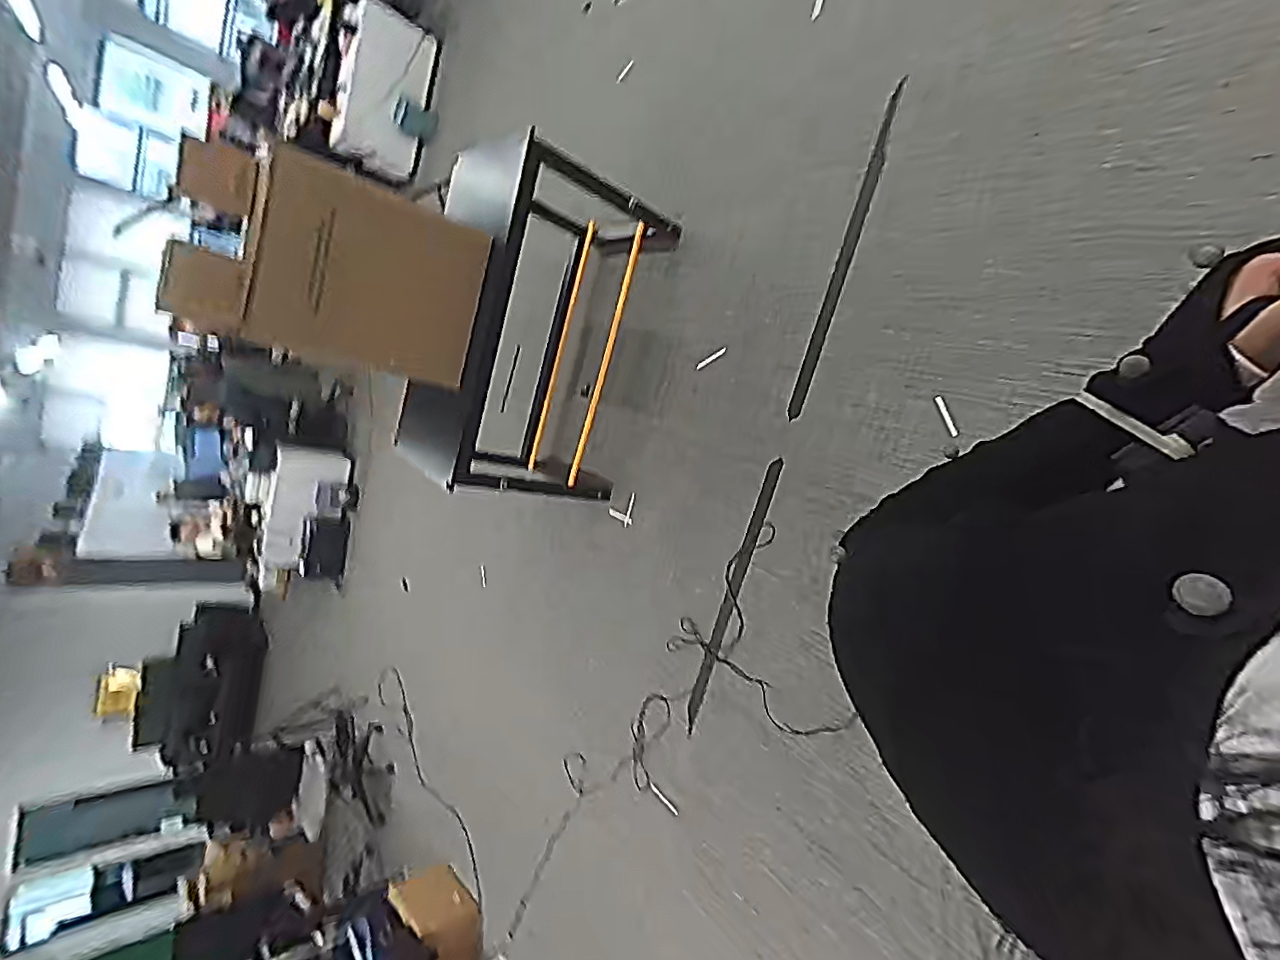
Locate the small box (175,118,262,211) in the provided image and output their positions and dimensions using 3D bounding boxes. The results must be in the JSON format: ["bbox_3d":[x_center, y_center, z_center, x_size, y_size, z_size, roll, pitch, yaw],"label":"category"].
[{"bbox_3d":[-1.169,-0.864,1.500,0.179,0.176,0.168,27,106,46],"label":"small box"}]
